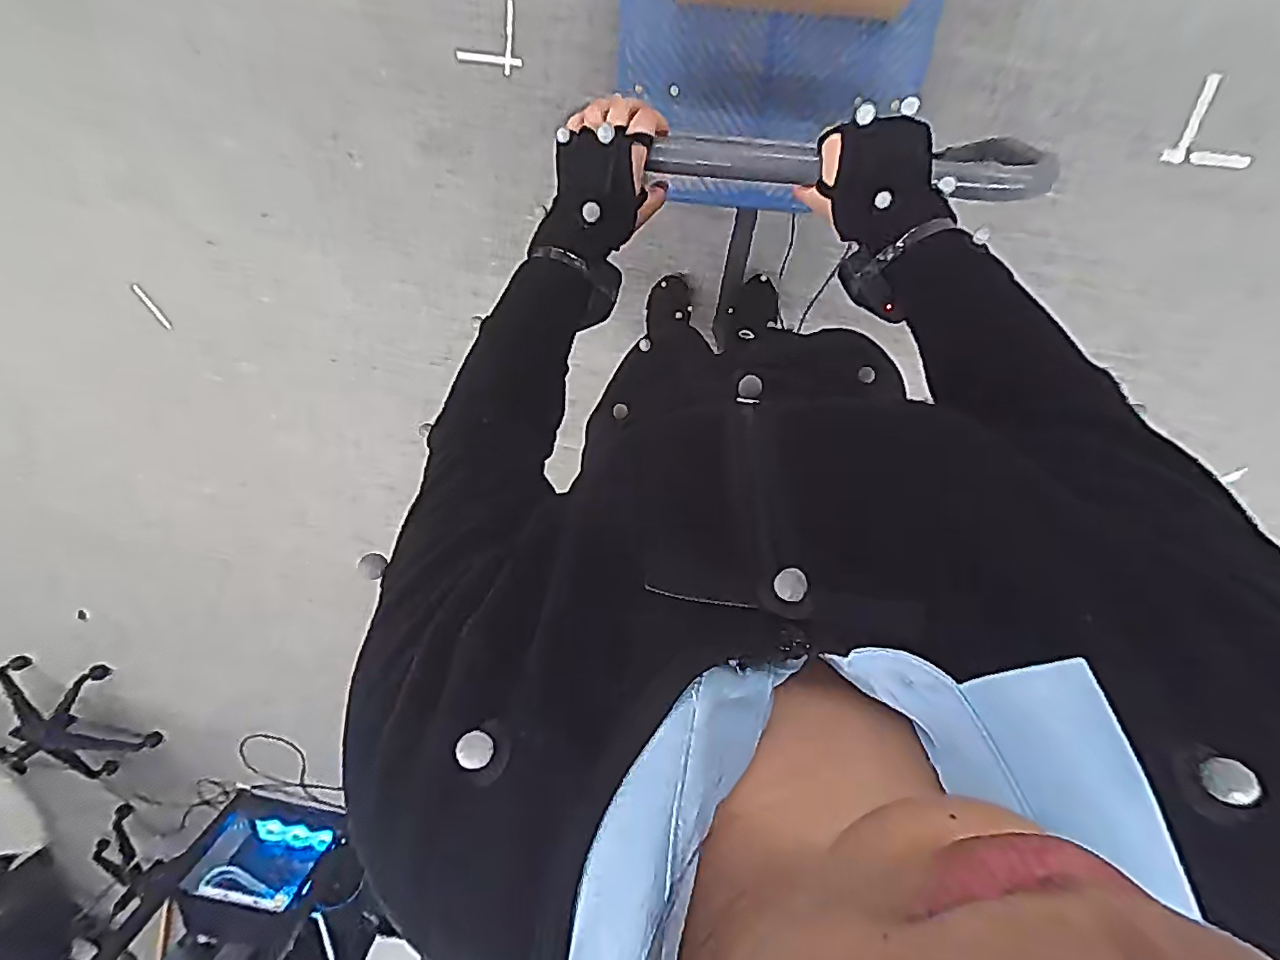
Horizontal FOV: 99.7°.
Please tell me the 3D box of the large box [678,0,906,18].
[{"bbox_3d":[0.261,-0.948,0.815,0.408,0.320,0.320,8,113,5],"label":"large box"}]
